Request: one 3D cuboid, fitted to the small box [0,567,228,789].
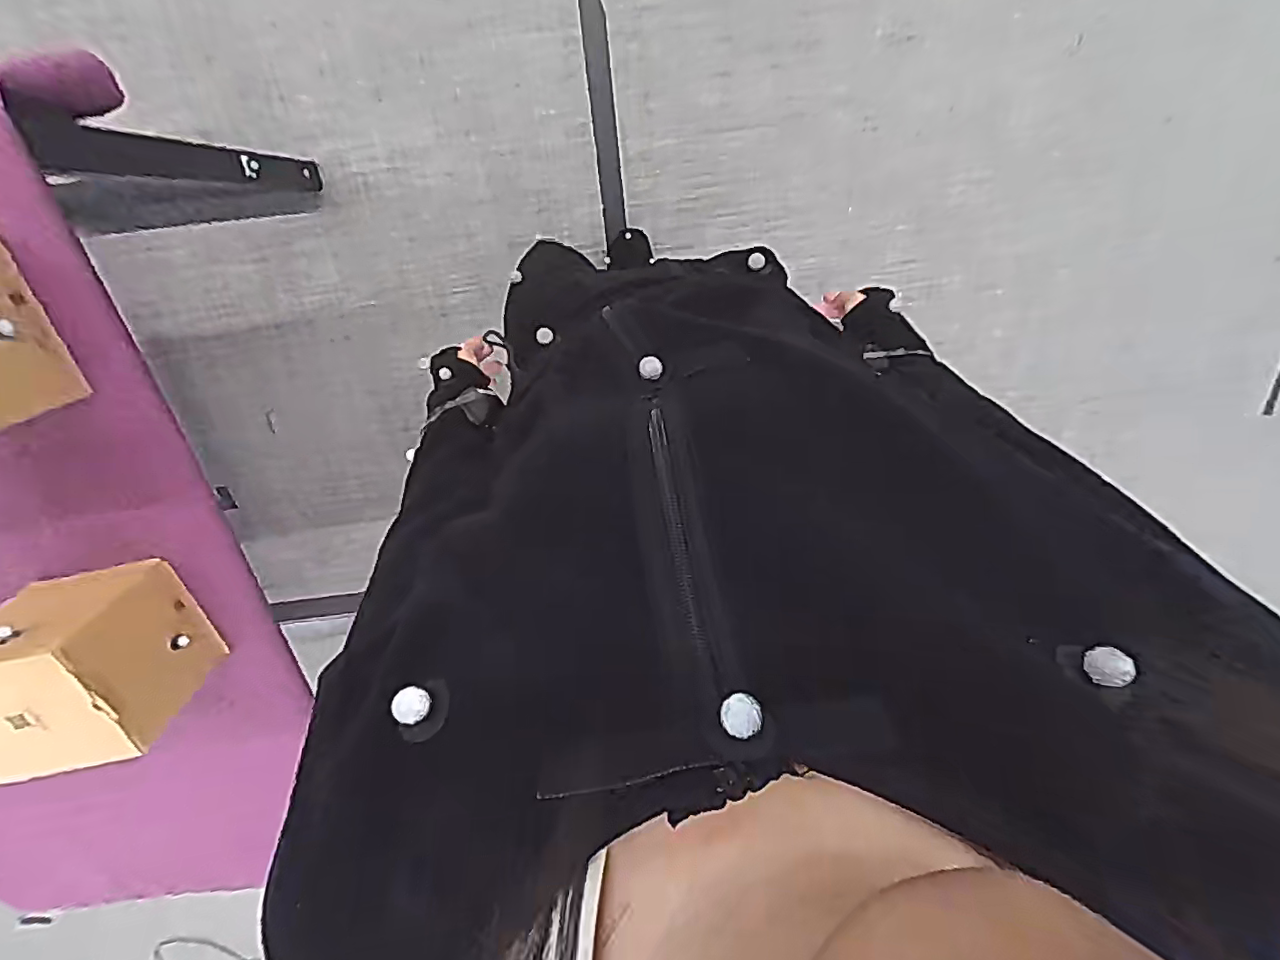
[{"bbox_3d":[-0.662,0.229,0.653,0.179,0.176,0.168,-12,117,-1],"label":"small box"}]

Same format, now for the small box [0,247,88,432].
[{"bbox_3d":[-0.680,-0.112,0.479,0.179,0.176,0.168,-8,118,-1],"label":"small box"}]
